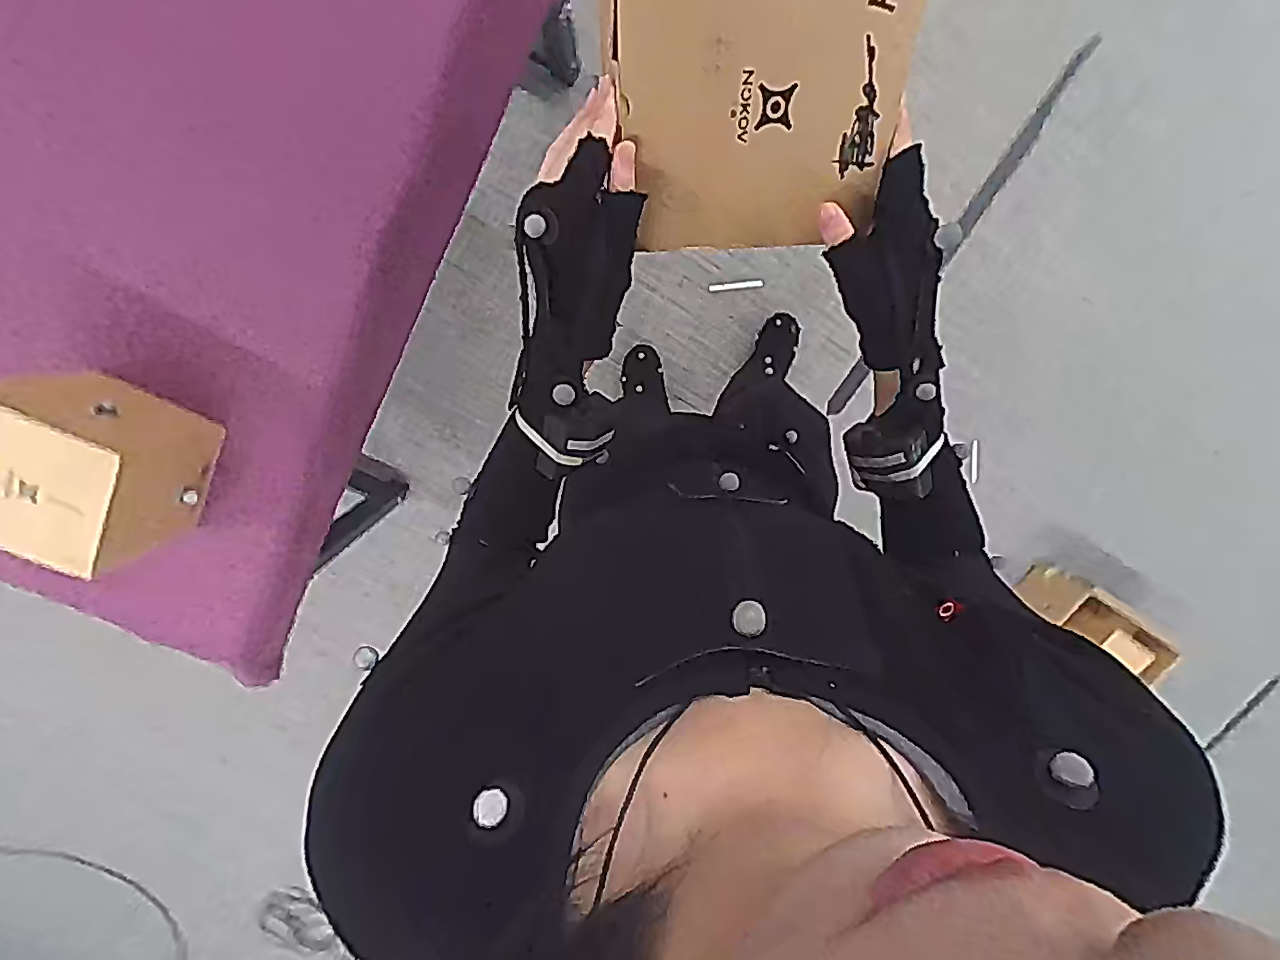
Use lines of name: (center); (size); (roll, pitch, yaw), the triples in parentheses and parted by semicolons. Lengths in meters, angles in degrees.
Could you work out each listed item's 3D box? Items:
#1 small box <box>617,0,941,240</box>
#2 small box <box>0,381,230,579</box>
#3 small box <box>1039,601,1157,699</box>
small box: (0.073, -0.279, 0.380); (0.179, 0.176, 0.168); (-3, 131, -4)
small box: (-0.664, -0.012, 0.663); (0.179, 0.176, 0.168); (25, 103, -9)
small box: (1.325, 0.492, 1.585); (0.168, 0.176, 0.179); (34, 102, -11)
